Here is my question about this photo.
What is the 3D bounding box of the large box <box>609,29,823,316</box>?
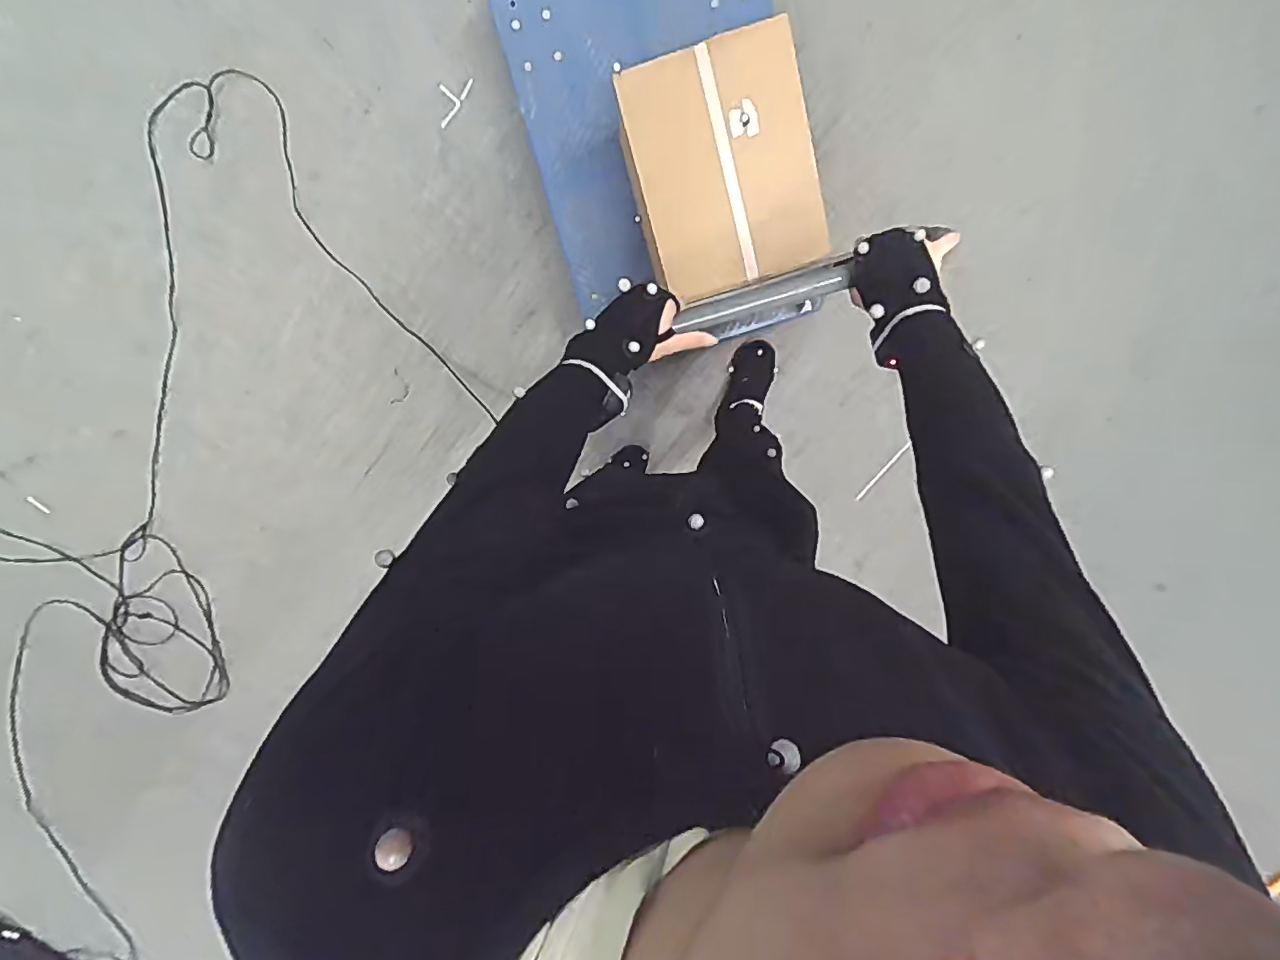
[{"bbox_3d":[0.150,-0.596,1.139,0.320,0.320,0.408,-16,103,4],"label":"large box"}]
